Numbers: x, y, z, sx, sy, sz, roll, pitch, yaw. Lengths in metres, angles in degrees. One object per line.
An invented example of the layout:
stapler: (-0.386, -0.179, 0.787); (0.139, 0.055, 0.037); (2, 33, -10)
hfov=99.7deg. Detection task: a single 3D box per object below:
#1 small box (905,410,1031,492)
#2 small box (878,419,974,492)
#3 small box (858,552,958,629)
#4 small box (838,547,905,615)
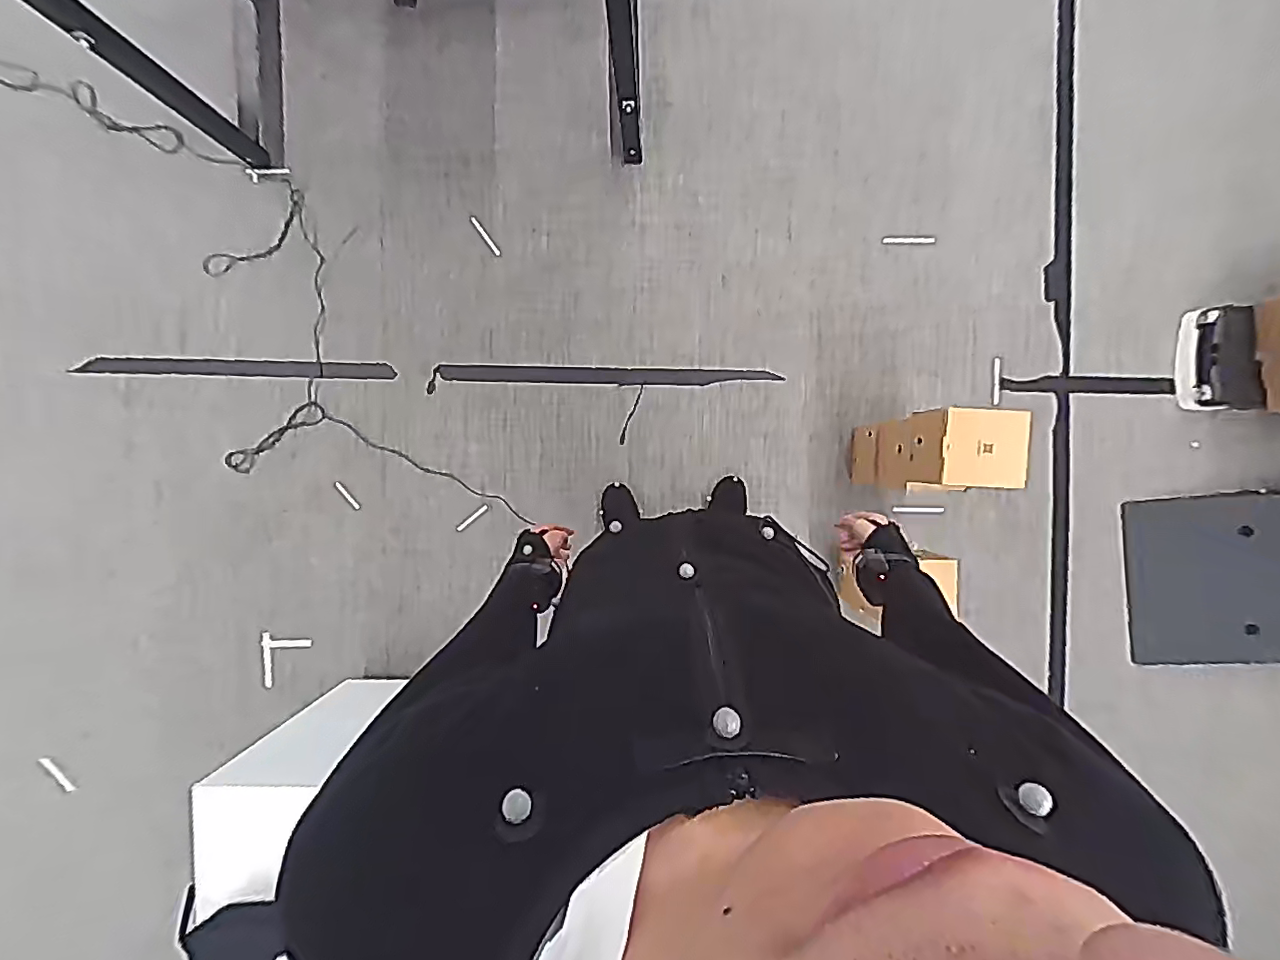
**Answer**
small box: (0.724, -0.065, 1.209); (0.179, 0.176, 0.168); (3, 93, 2)
small box: (0.722, -0.061, 1.372); (0.168, 0.176, 0.179); (1, 93, 1)
small box: (0.681, 0.277, 1.387); (0.179, 0.176, 0.168); (0, 91, 2)
small box: (0.683, 0.284, 1.552); (0.179, 0.176, 0.168); (-1, 91, 2)
